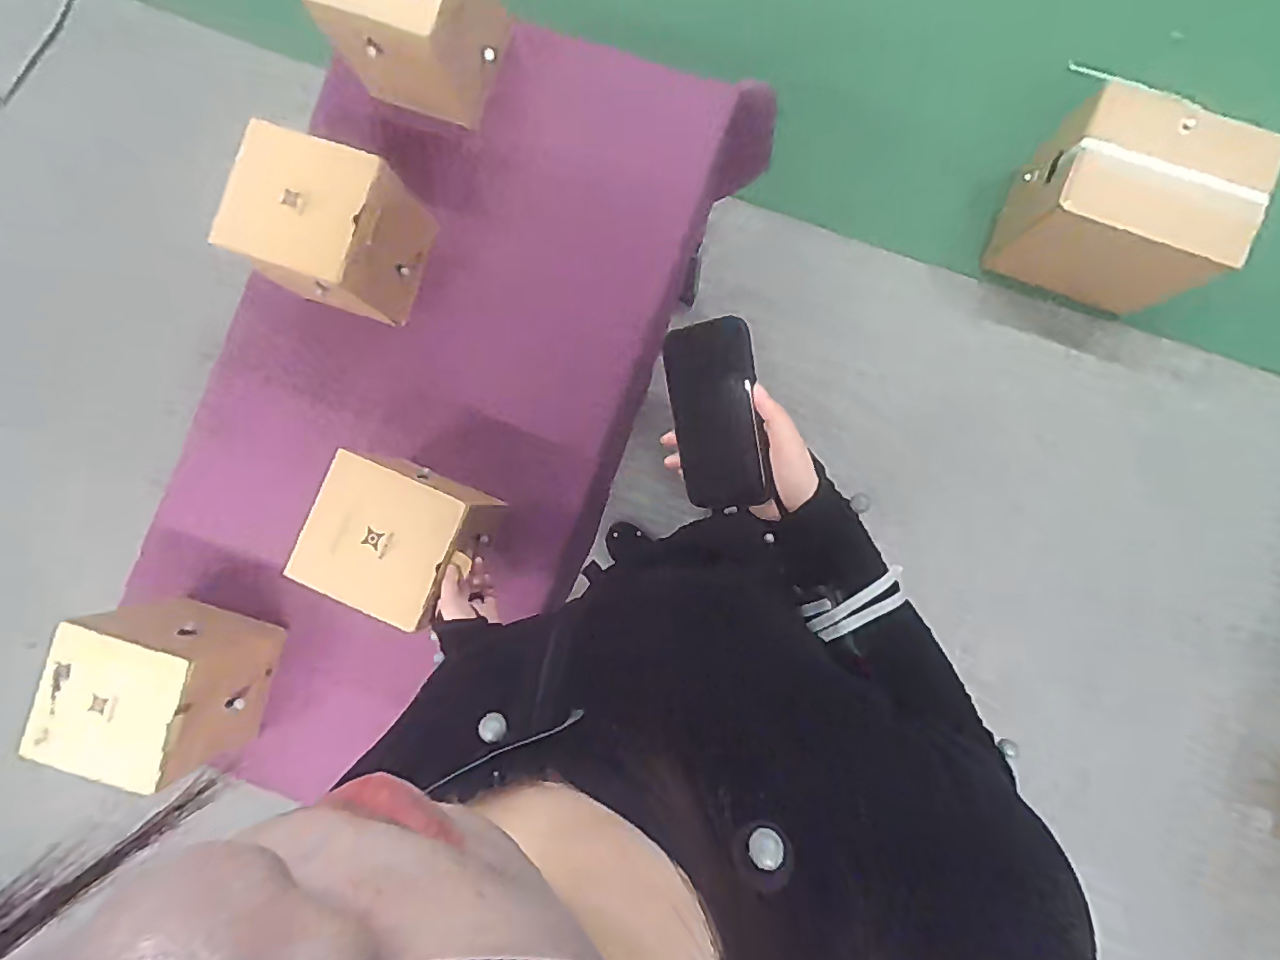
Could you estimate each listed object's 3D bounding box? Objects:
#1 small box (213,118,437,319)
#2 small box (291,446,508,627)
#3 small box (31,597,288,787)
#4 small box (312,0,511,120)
[{"bbox_3d":[-0.412,-0.340,0.738,0.179,0.176,0.168,18,89,3],"label":"small box"},{"bbox_3d":[-0.300,0.068,0.716,0.179,0.176,0.168,23,88,5],"label":"small box"},{"bbox_3d":[-0.621,0.267,0.725,0.179,0.176,0.168,15,88,3],"label":"small box"},{"bbox_3d":[-0.302,-0.639,0.738,0.179,0.176,0.168,21,90,3],"label":"small box"}]
